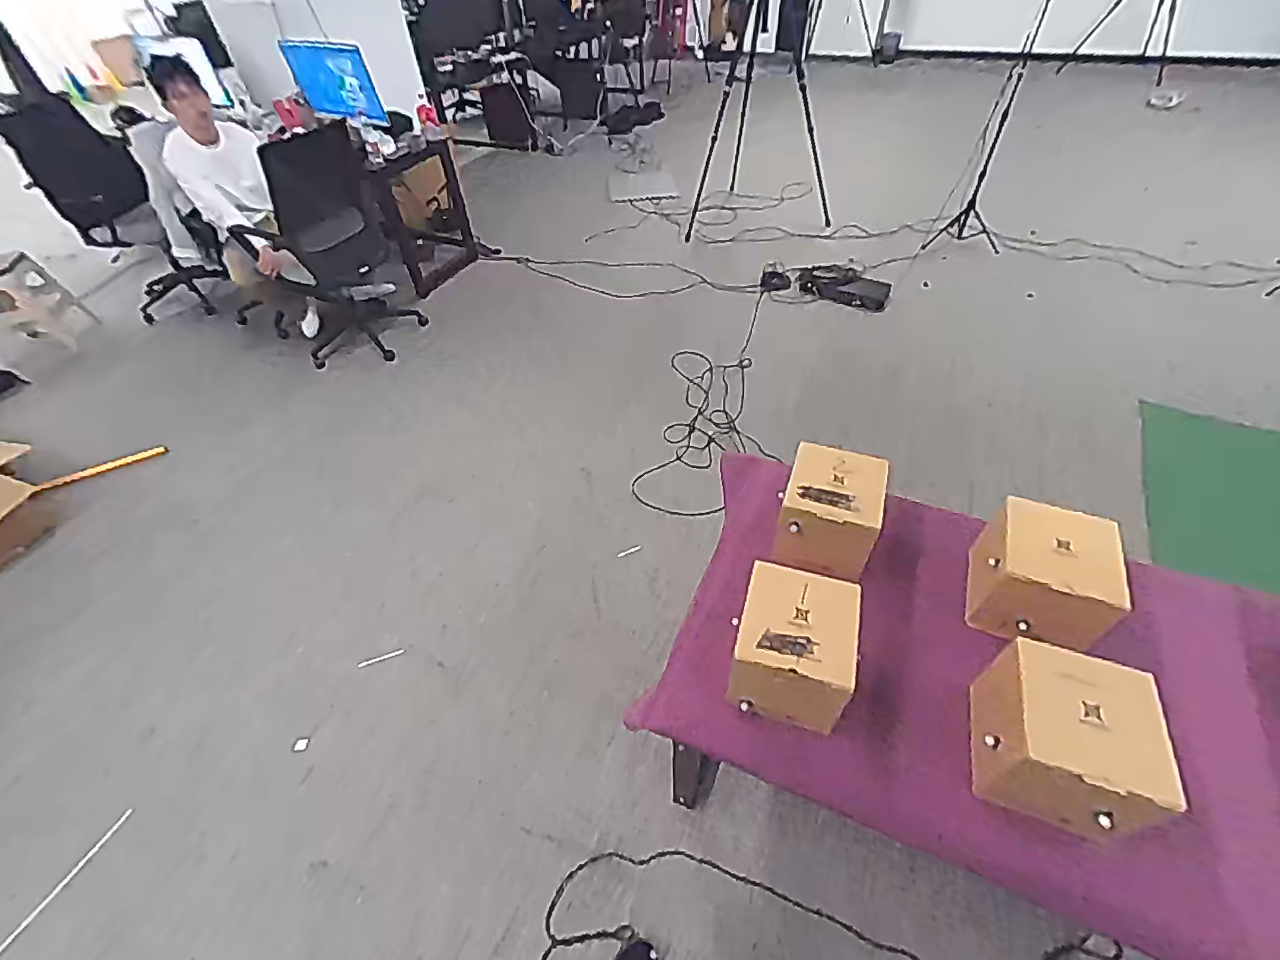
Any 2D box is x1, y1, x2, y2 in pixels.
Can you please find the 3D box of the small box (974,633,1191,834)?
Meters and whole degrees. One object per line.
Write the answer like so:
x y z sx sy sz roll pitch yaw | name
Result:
0.579 0.348 0.738 0.168 0.176 0.179 15 49 17 | small box

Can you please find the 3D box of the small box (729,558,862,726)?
0.238 0.256 0.847 0.168 0.176 0.179 12 48 15 | small box

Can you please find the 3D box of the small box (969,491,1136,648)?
0.679 0.153 0.912 0.168 0.176 0.179 16 52 18 | small box
